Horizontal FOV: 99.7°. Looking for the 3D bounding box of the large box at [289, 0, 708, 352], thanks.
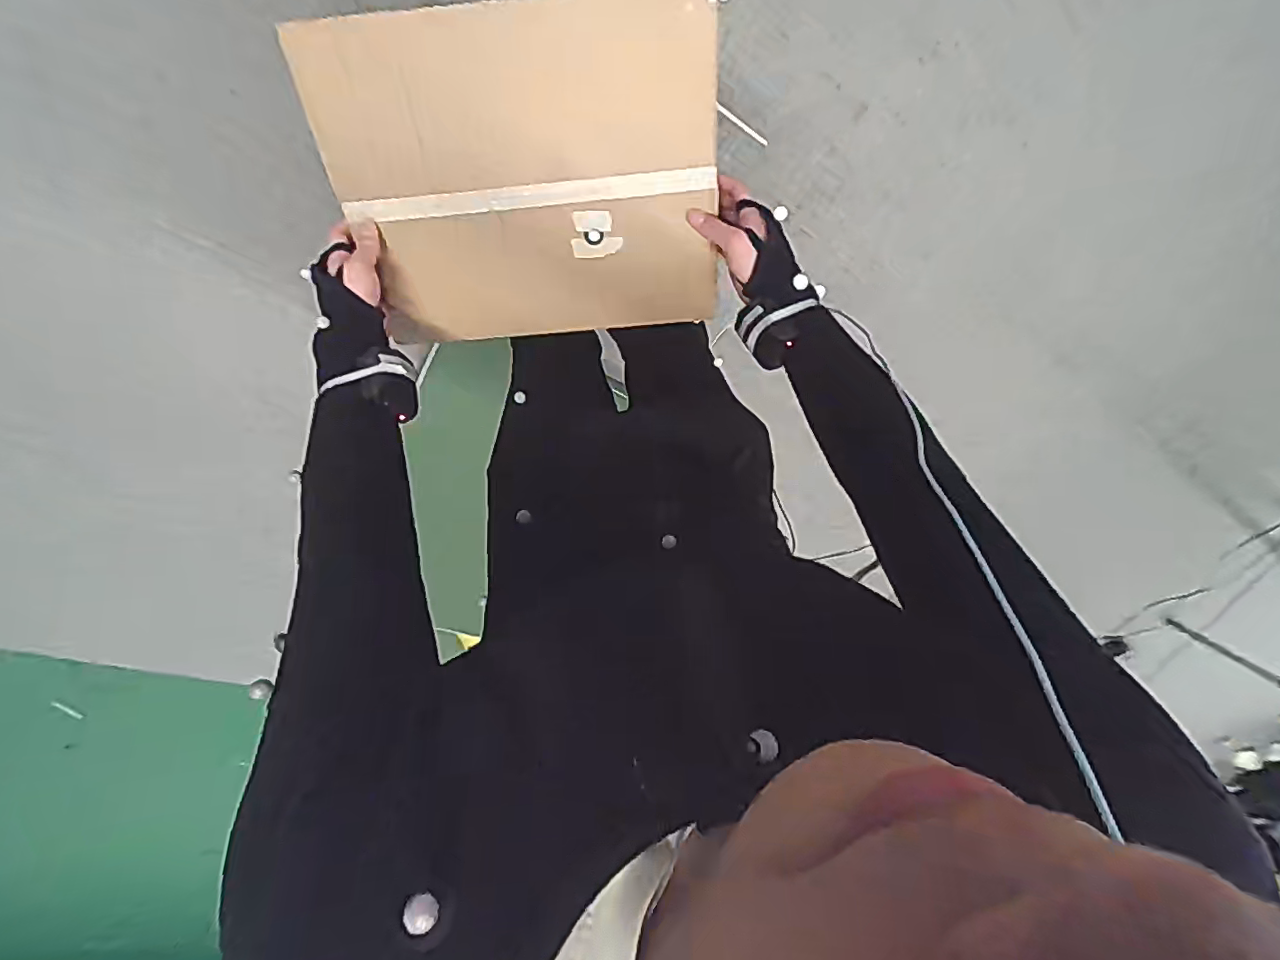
[{"bbox_3d":[-0.134,-0.395,0.717,0.408,0.320,0.320,-6,127,2],"label":"large box"}]
